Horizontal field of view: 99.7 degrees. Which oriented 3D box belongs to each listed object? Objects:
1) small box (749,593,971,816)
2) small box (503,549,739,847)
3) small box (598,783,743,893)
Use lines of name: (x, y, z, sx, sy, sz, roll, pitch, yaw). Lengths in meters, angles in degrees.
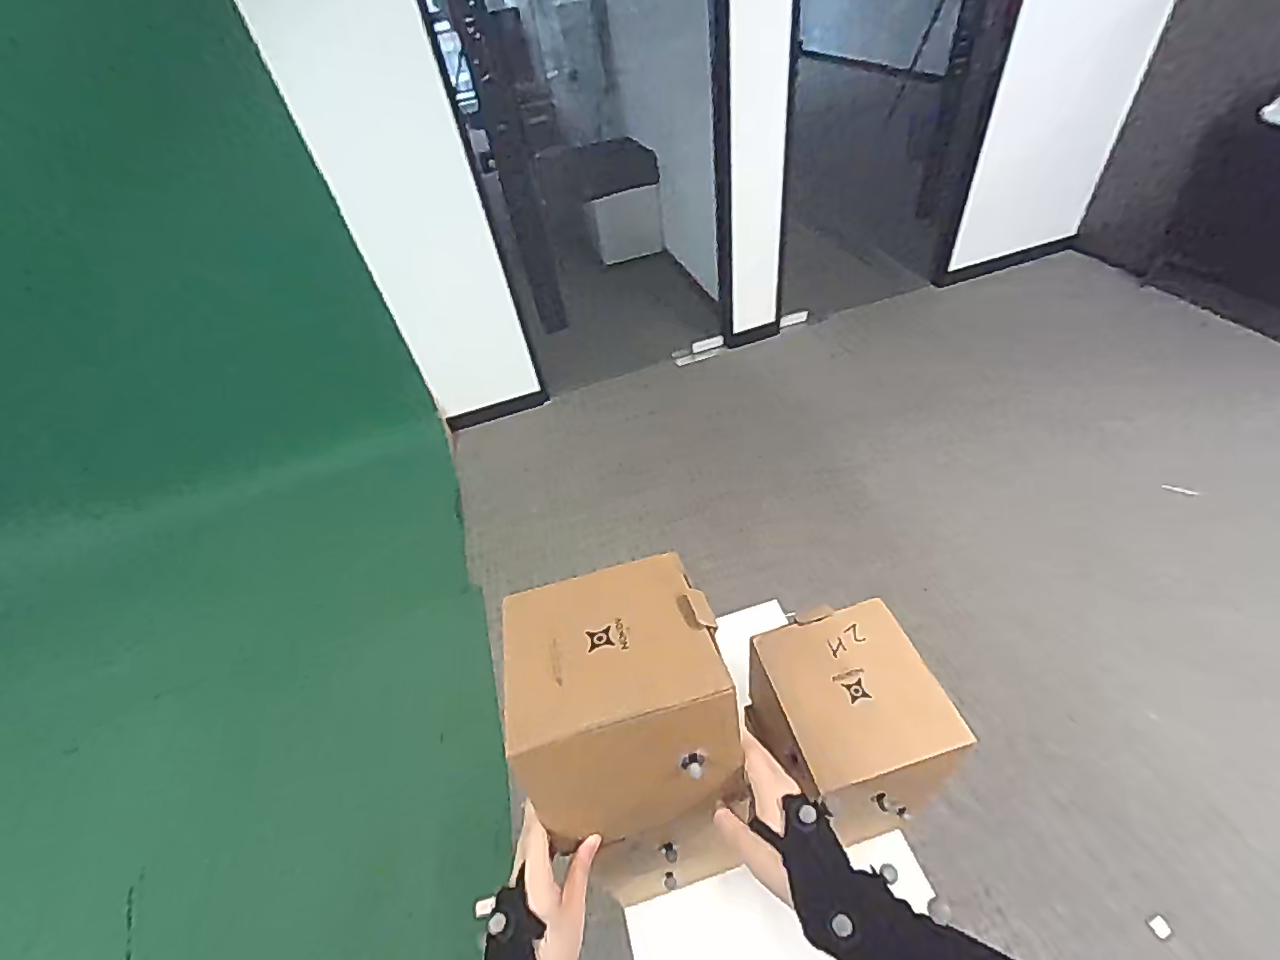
small box: (0.237, 0.268, 0.633, 0.168, 0.176, 0.179, -16, 45, -5)
small box: (-0.016, 0.197, 0.501, 0.179, 0.176, 0.168, -16, 34, -5)
small box: (0.031, 0.434, 0.742, 0.179, 0.176, 0.168, -16, 46, -7)
